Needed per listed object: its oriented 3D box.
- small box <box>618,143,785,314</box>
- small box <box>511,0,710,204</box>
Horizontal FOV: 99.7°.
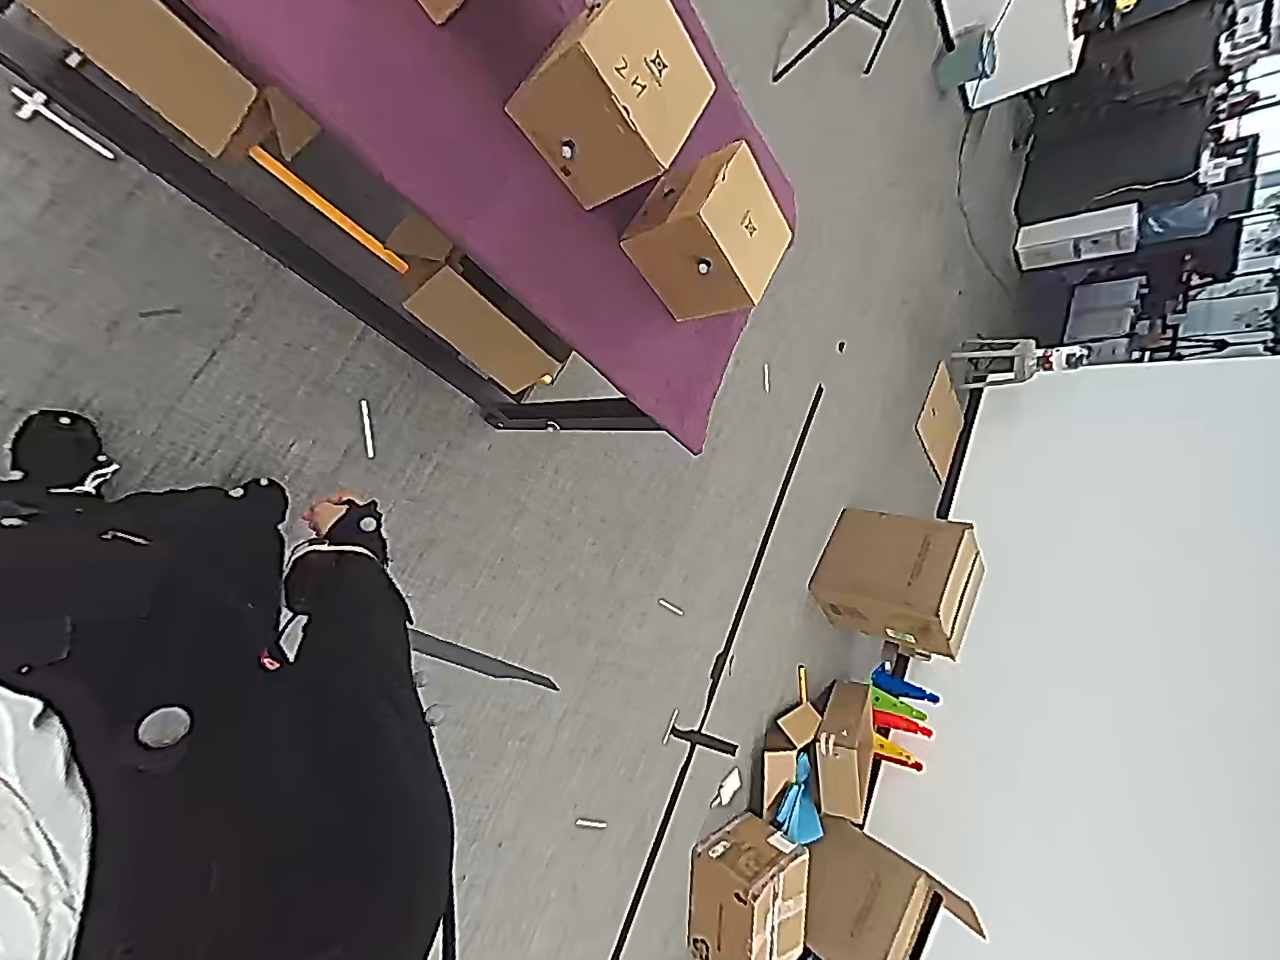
[{"bbox_3d":[0.100,-0.389,0.874,0.179,0.176,0.168,44,64,-37],"label":"small box"},{"bbox_3d":[-0.041,-0.513,0.723,0.168,0.176,0.179,41,67,-38],"label":"small box"}]
